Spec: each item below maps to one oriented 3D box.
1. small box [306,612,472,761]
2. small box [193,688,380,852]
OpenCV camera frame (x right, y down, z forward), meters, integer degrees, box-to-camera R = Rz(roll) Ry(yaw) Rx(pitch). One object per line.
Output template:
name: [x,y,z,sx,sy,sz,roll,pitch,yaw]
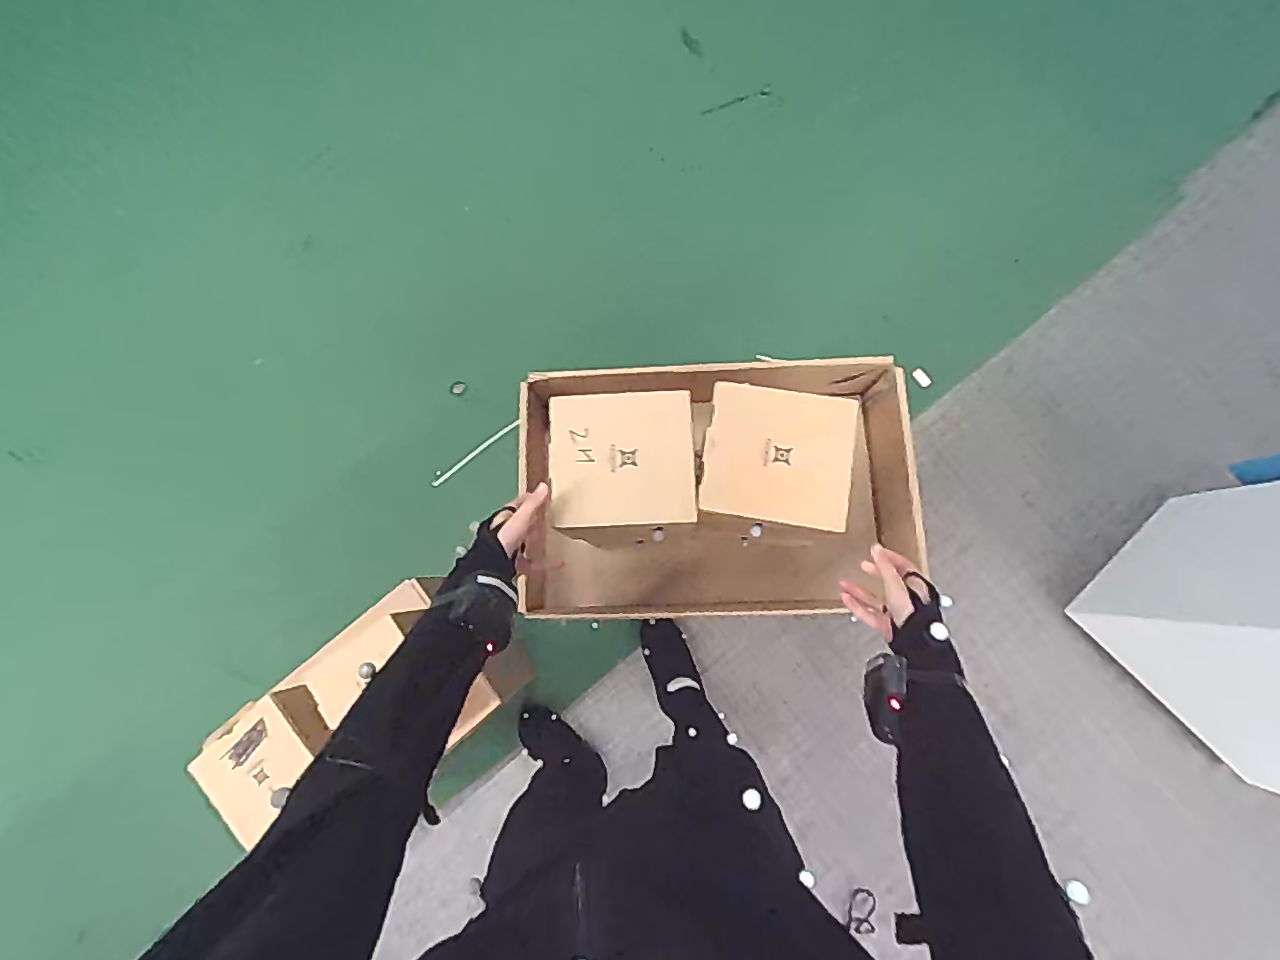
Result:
small box: [-0.433,0.353,0.960,0.179,0.176,0.168,-35,80,-5]
small box: [-0.601,0.484,0.942,0.168,0.176,0.179,-42,80,-6]
